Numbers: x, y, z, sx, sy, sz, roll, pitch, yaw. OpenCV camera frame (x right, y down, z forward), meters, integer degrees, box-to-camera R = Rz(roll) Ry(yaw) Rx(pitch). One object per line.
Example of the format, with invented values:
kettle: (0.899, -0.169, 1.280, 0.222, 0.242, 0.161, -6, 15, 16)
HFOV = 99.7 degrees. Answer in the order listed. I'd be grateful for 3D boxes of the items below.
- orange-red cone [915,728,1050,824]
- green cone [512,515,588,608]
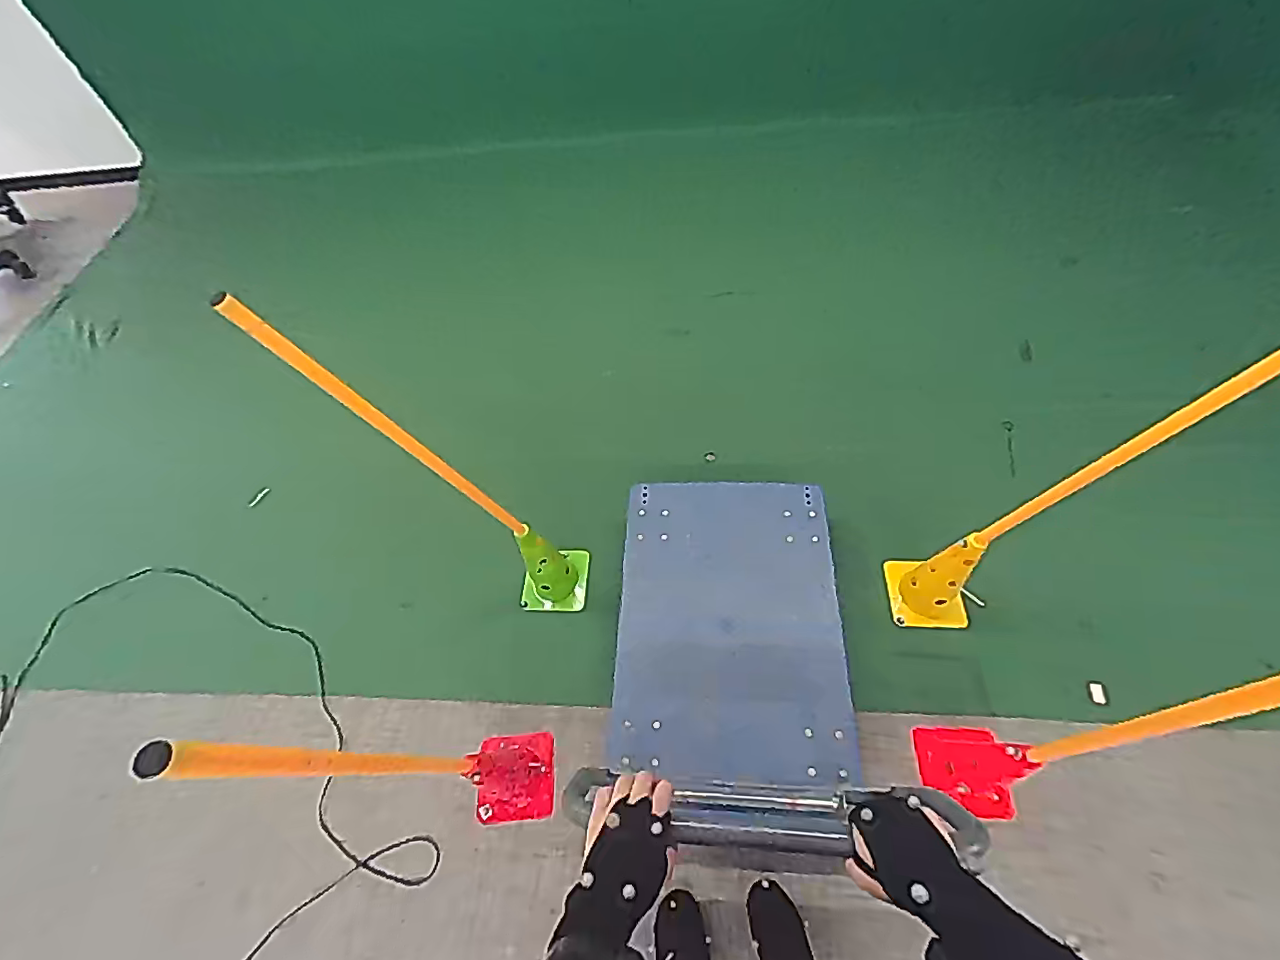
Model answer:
orange-red cone: (0.767, 0.615, 1.165, 0.198, 0.360, 0.199, 0, 56, 6)
green cone: (-0.287, 0.209, 1.540, 0.200, 0.368, 0.202, -1, 57, 7)
